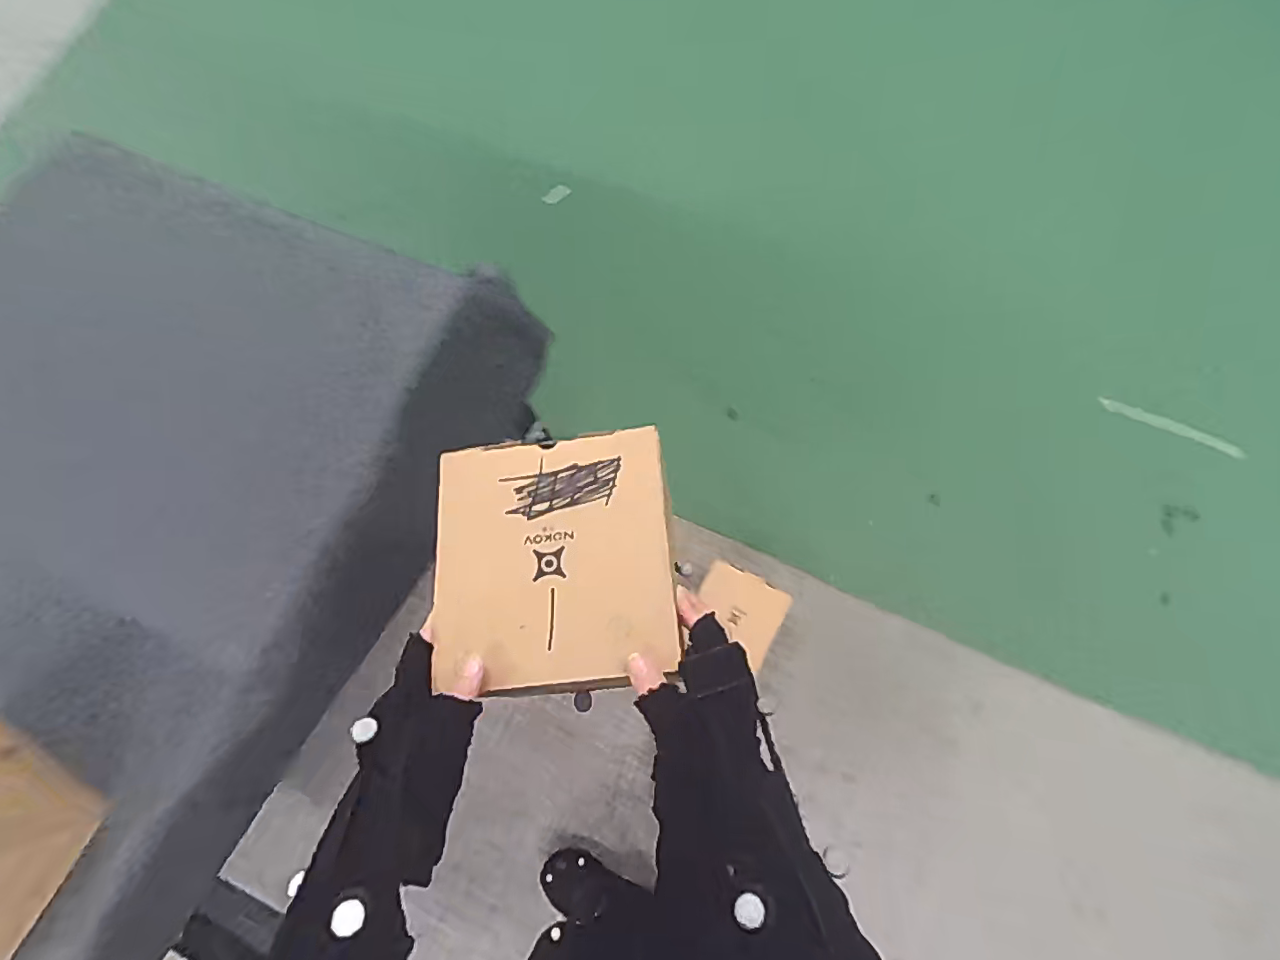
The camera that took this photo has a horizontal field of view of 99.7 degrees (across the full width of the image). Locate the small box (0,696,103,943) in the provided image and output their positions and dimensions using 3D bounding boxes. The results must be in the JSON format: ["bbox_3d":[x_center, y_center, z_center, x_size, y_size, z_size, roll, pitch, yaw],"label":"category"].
[{"bbox_3d":[-0.591,0.291,0.411,0.168,0.176,0.179,27,78,11],"label":"small box"}]

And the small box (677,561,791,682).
[{"bbox_3d":[0.187,0.290,1.122,0.168,0.176,0.179,28,80,11],"label":"small box"}]
